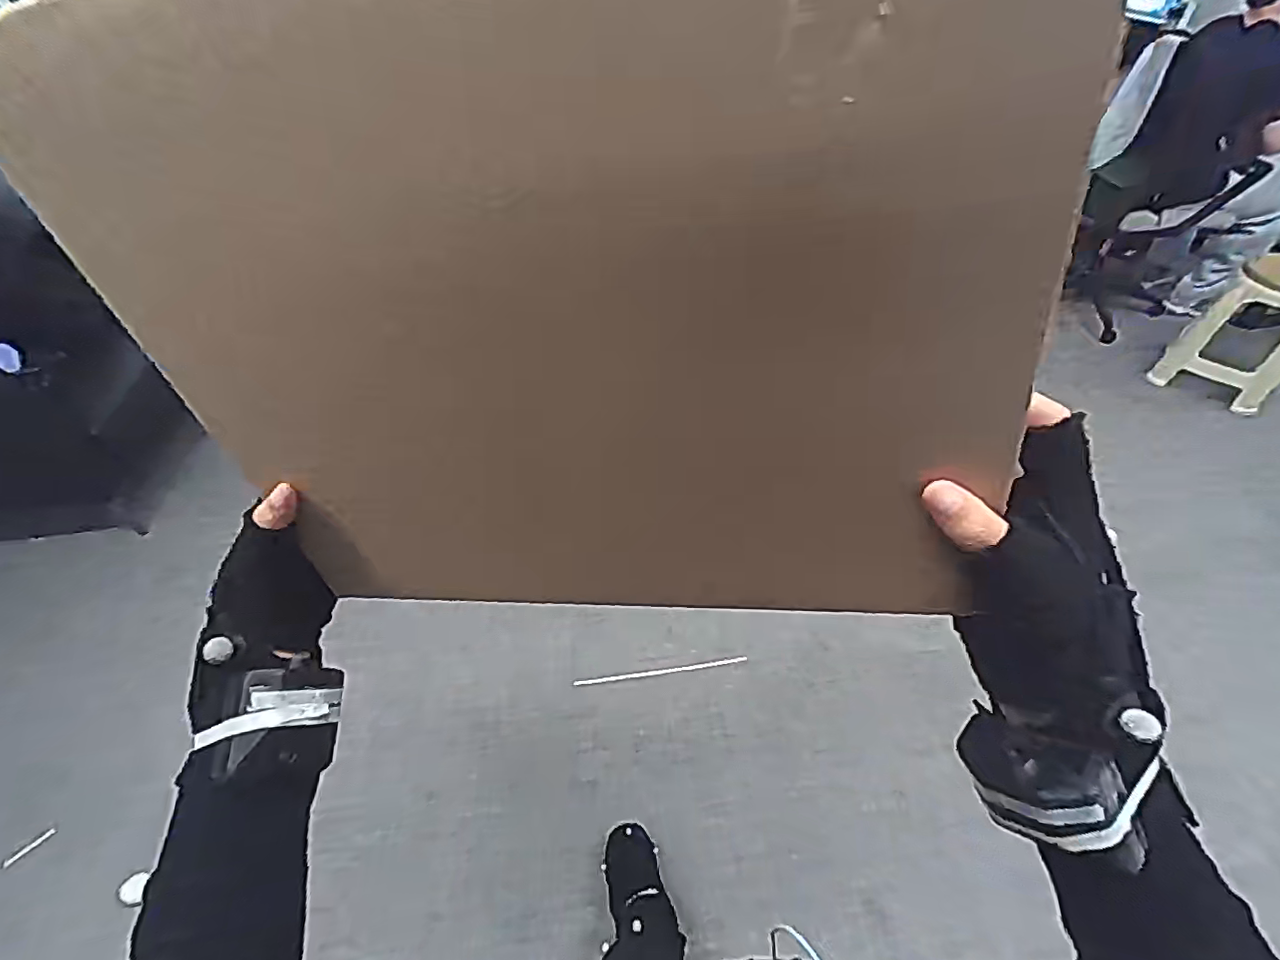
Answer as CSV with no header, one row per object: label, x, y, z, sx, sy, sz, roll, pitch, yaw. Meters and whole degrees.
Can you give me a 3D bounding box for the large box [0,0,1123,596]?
large box,-0.018,-0.138,0.361,0.408,0.320,0.320,-2,38,15
